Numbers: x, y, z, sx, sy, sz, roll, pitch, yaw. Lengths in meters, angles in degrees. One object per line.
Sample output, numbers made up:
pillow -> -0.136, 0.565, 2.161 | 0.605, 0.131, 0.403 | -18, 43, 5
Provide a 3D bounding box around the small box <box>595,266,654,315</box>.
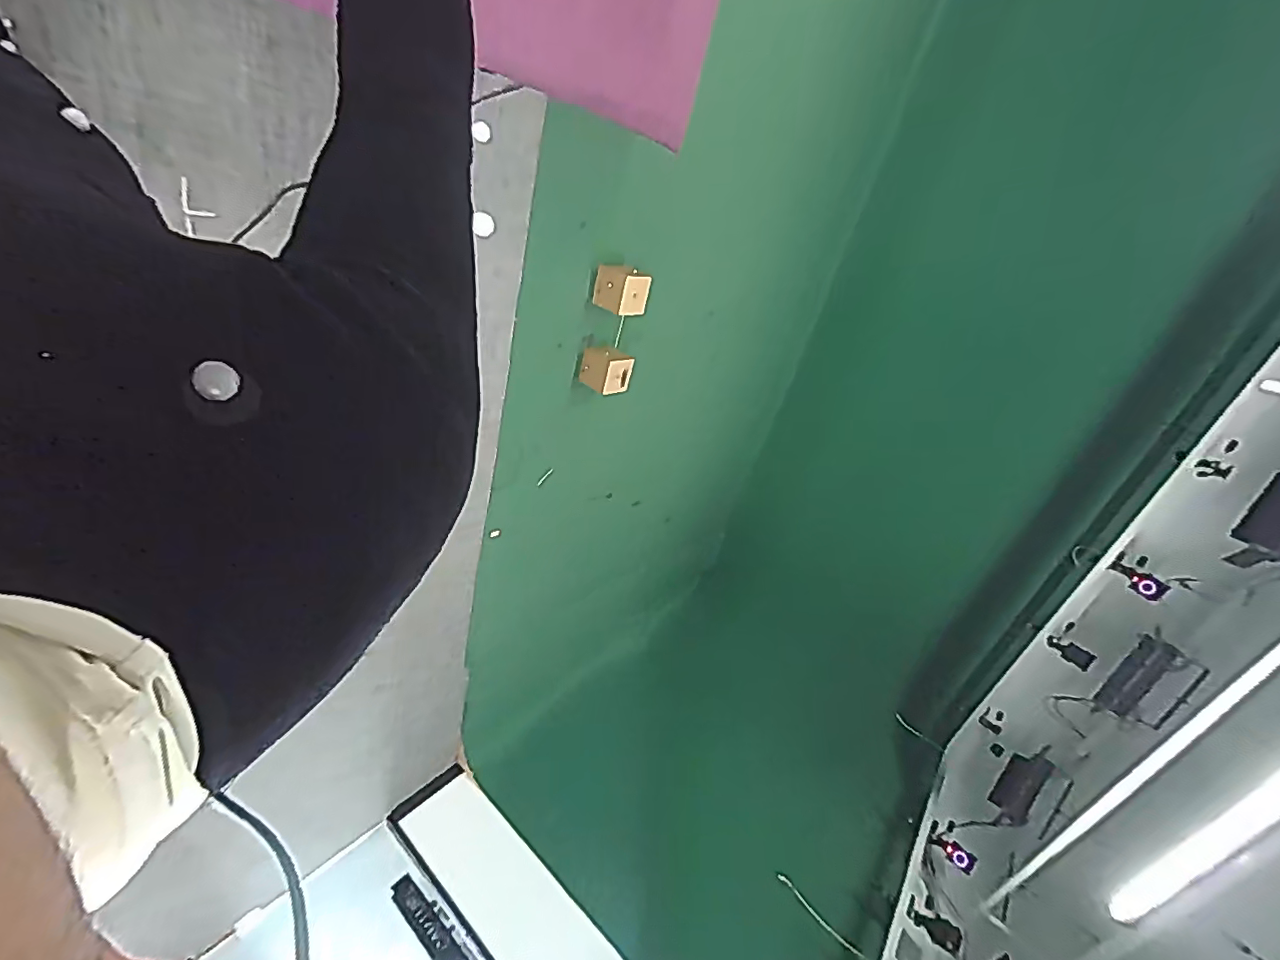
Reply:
small box -> -0.072, -0.828, 2.358 | 0.179, 0.176, 0.168 | -23, 136, -48
